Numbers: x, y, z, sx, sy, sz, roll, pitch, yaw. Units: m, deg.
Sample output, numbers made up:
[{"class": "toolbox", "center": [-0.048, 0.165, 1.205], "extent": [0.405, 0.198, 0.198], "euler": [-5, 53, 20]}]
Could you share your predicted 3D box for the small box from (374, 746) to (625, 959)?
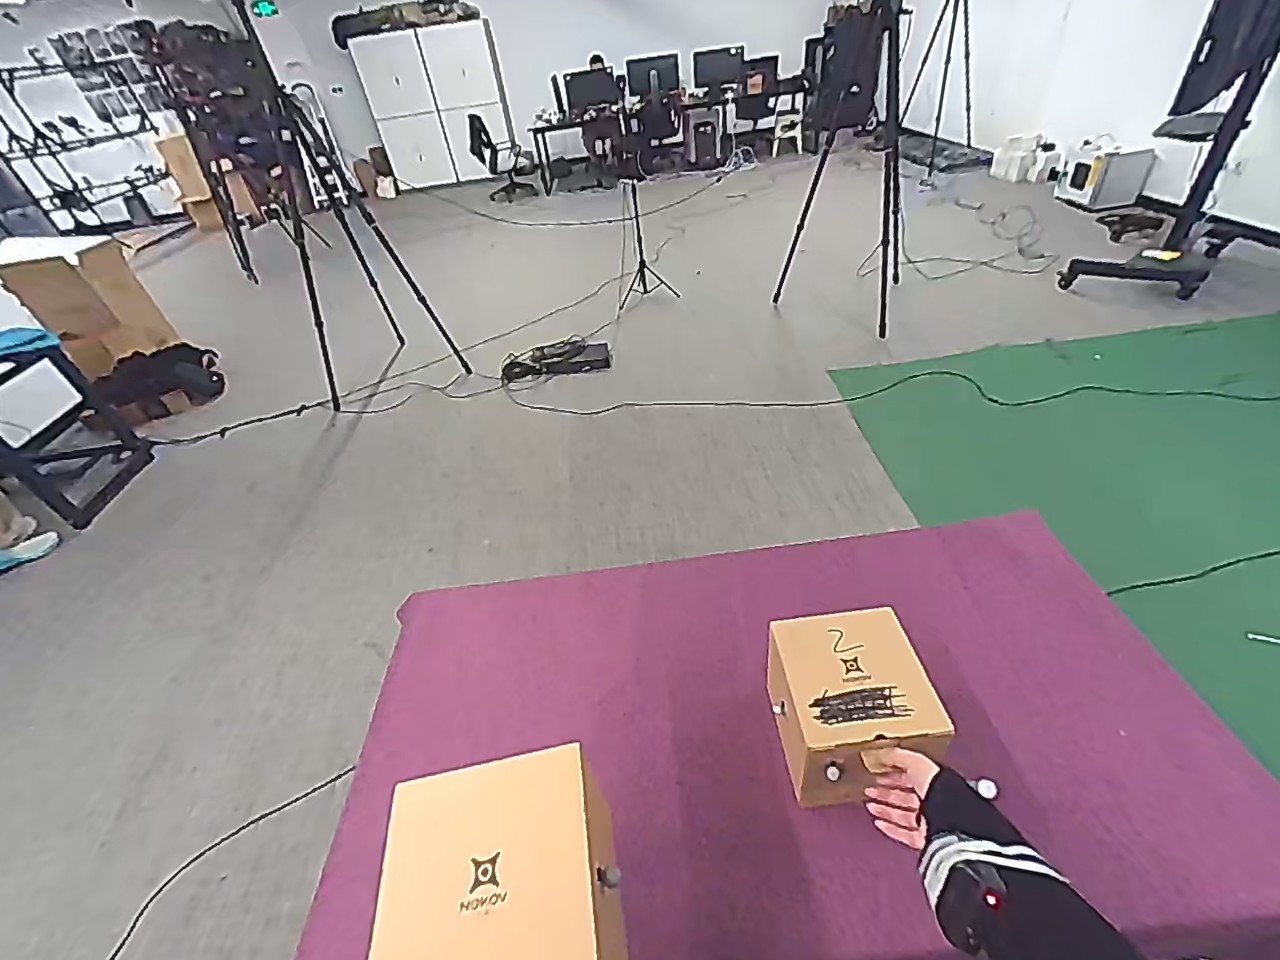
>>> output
[{"class": "small box", "center": [-0.111, 0.372, 0.481], "extent": [0.168, 0.176, 0.179], "euler": [-12, 42, -3]}]
